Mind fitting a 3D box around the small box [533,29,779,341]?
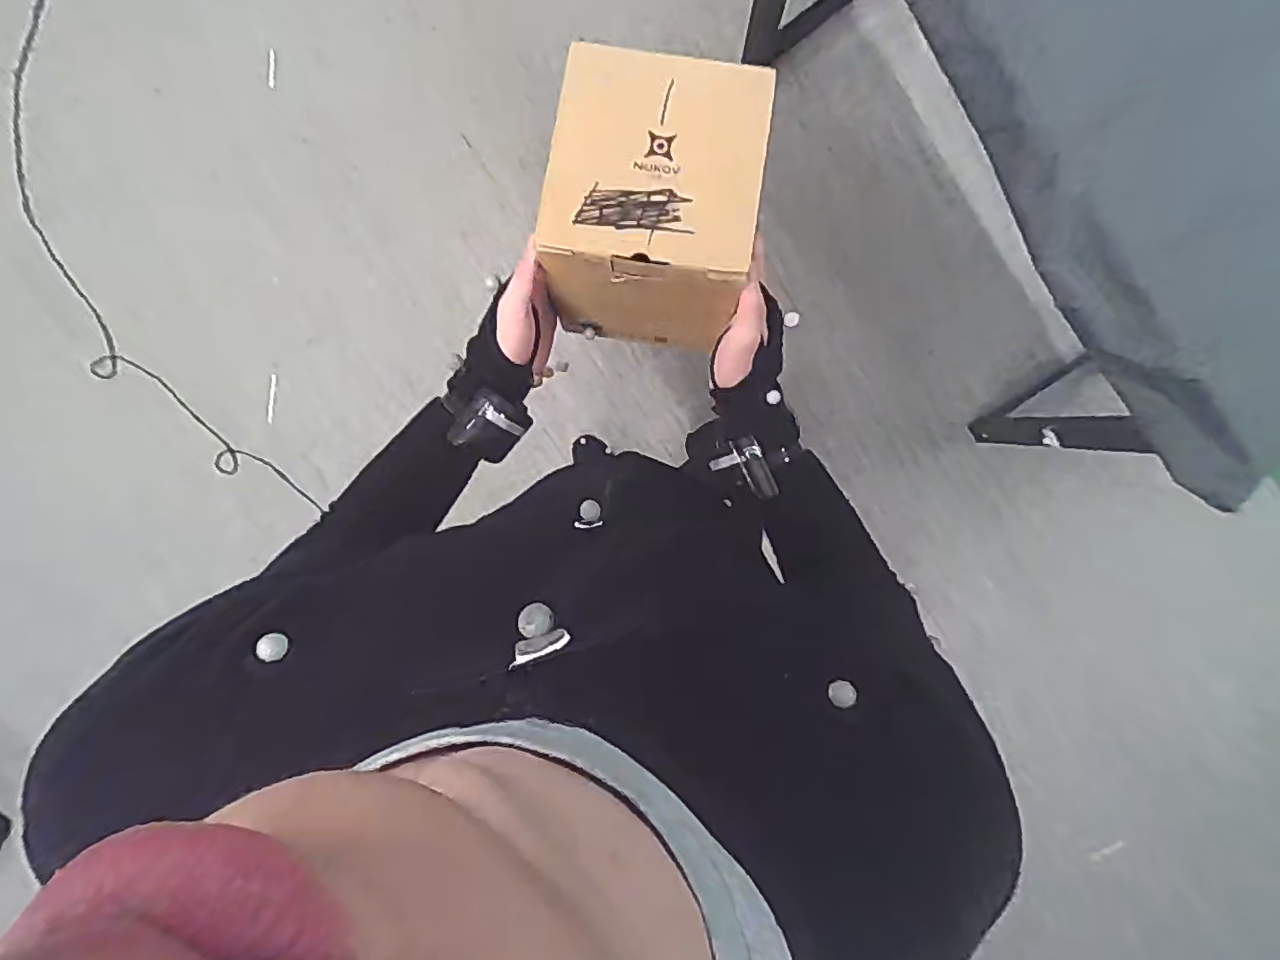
[{"bbox_3d":[0.014,-0.242,0.486,0.168,0.176,0.179,9,83,1],"label":"small box"}]
